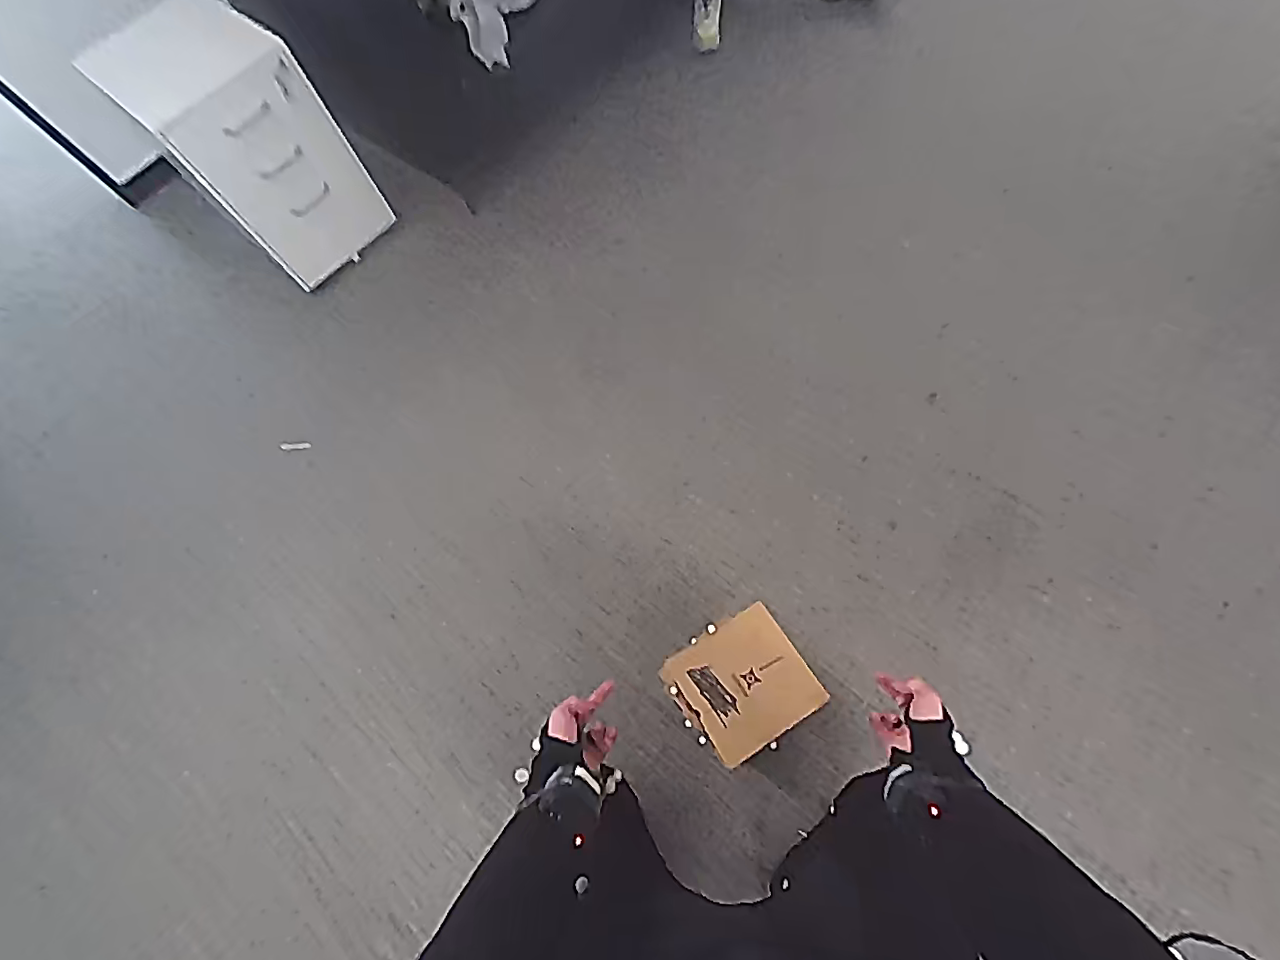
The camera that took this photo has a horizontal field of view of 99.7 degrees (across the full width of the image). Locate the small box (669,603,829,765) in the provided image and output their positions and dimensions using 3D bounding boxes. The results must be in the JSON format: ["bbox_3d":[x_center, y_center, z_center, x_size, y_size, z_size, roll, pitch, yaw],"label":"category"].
[{"bbox_3d":[0.163,0.318,0.845,0.179,0.176,0.168,-27,67,-5],"label":"small box"}]
